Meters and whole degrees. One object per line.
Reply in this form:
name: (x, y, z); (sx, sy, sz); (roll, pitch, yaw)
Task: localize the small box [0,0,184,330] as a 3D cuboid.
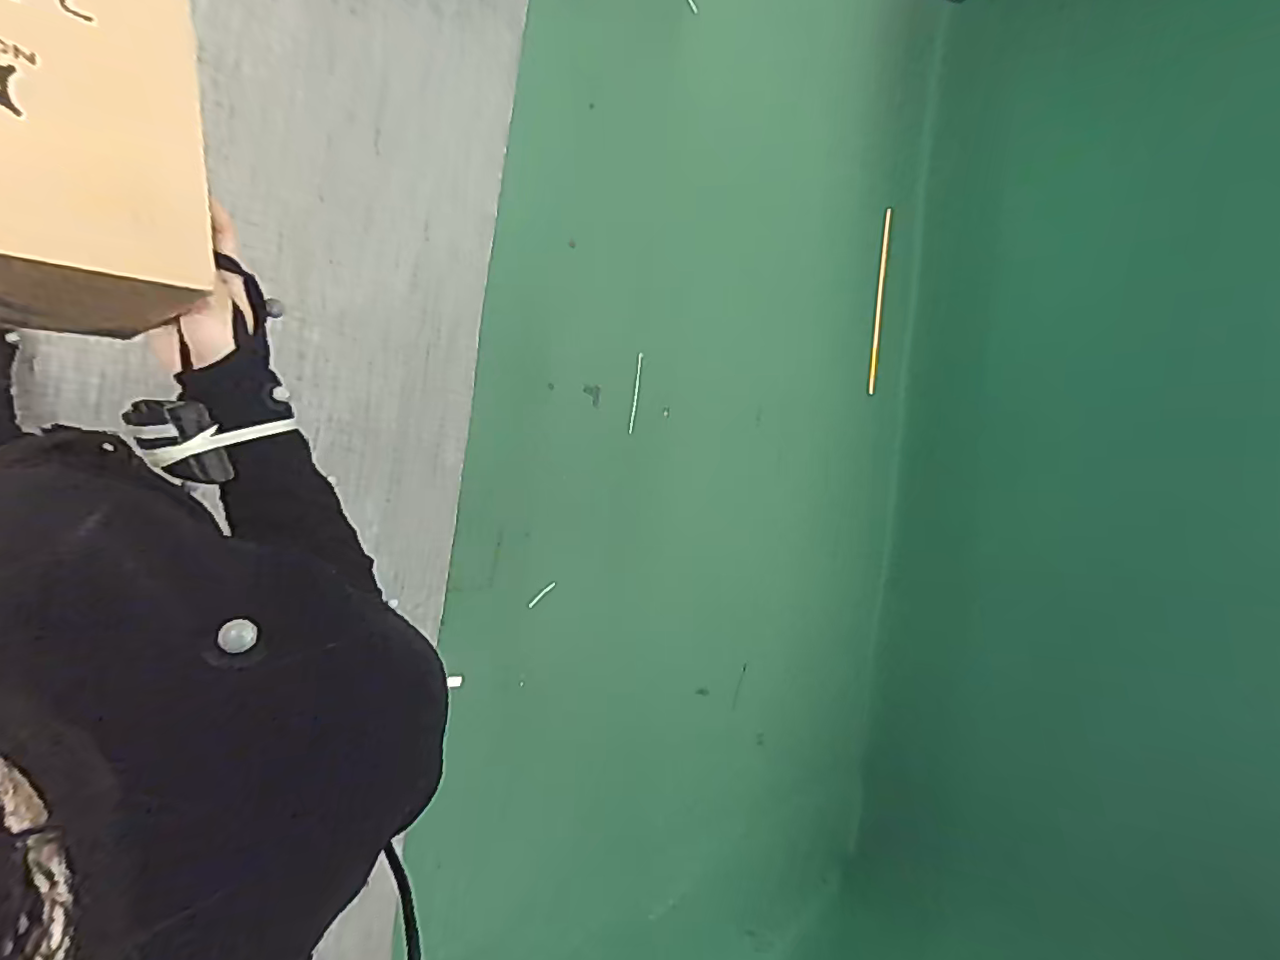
small box: (-0.381, -0.189, 0.289); (0.168, 0.176, 0.179); (-7, 94, -58)
